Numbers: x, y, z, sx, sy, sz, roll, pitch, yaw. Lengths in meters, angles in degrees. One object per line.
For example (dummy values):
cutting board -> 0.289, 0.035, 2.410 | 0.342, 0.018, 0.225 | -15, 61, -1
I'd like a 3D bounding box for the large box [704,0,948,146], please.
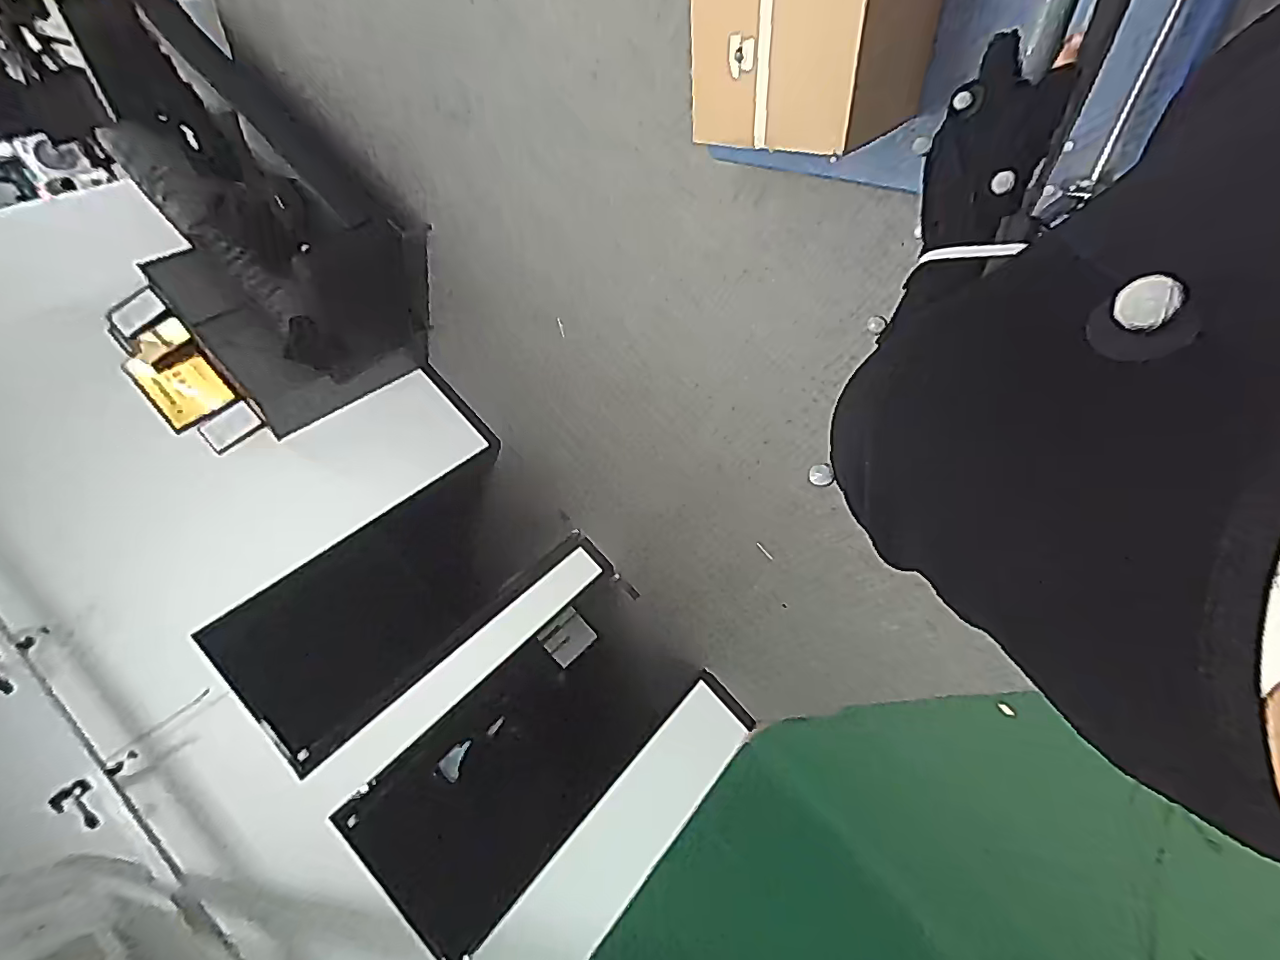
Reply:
large box -> 0.317, -0.833, 0.902 | 0.320, 0.320, 0.408 | 28, 144, 32
